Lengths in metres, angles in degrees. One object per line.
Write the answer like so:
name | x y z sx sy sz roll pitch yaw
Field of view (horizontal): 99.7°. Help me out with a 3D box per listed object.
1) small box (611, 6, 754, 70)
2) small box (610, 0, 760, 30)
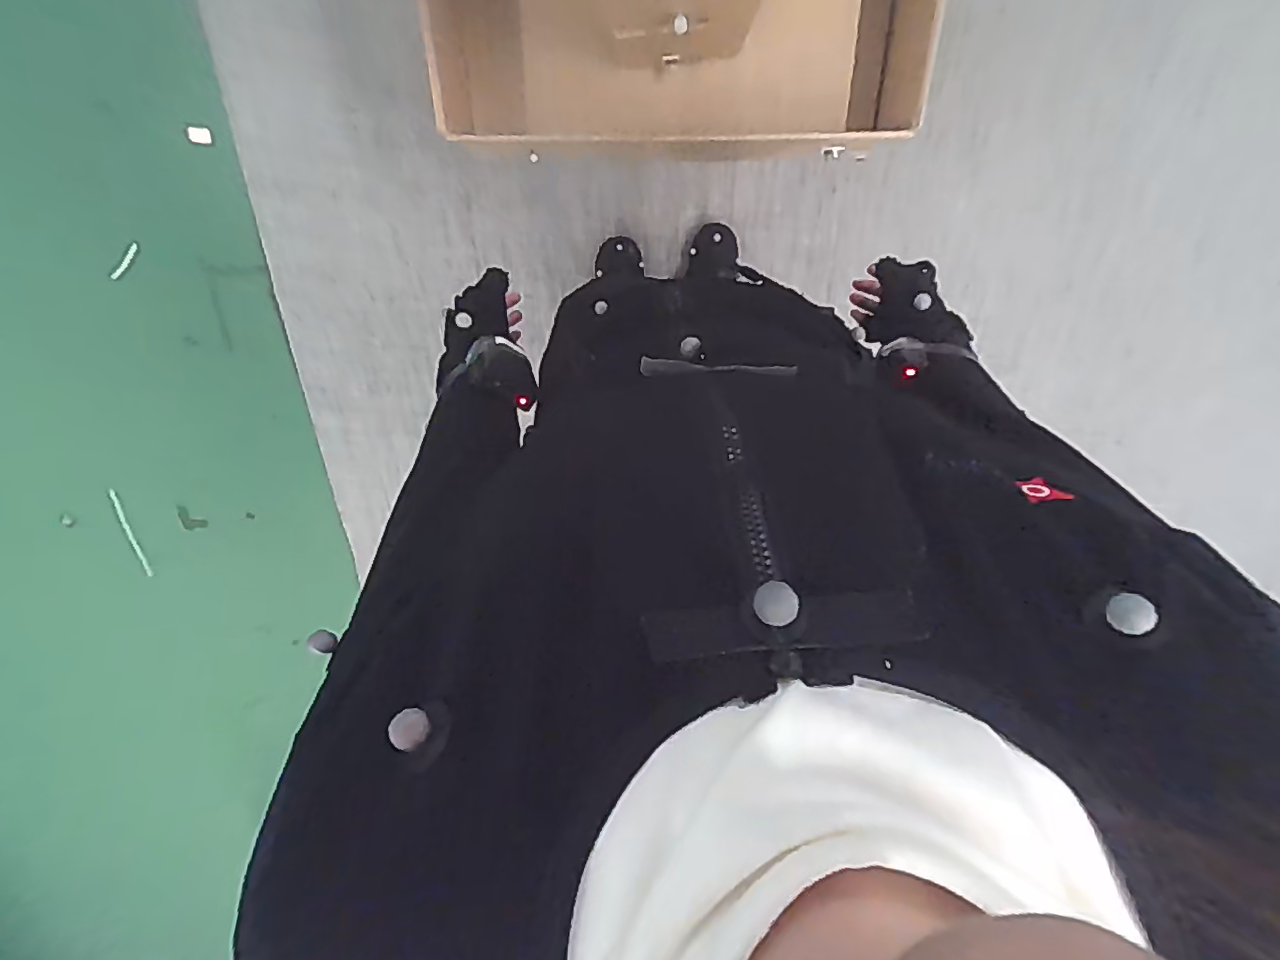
small box | 0.046 -0.634 0.659 0.168 0.176 0.179 -3 116 4
small box | 0.042 -0.564 0.511 0.168 0.176 0.179 -1 116 4
